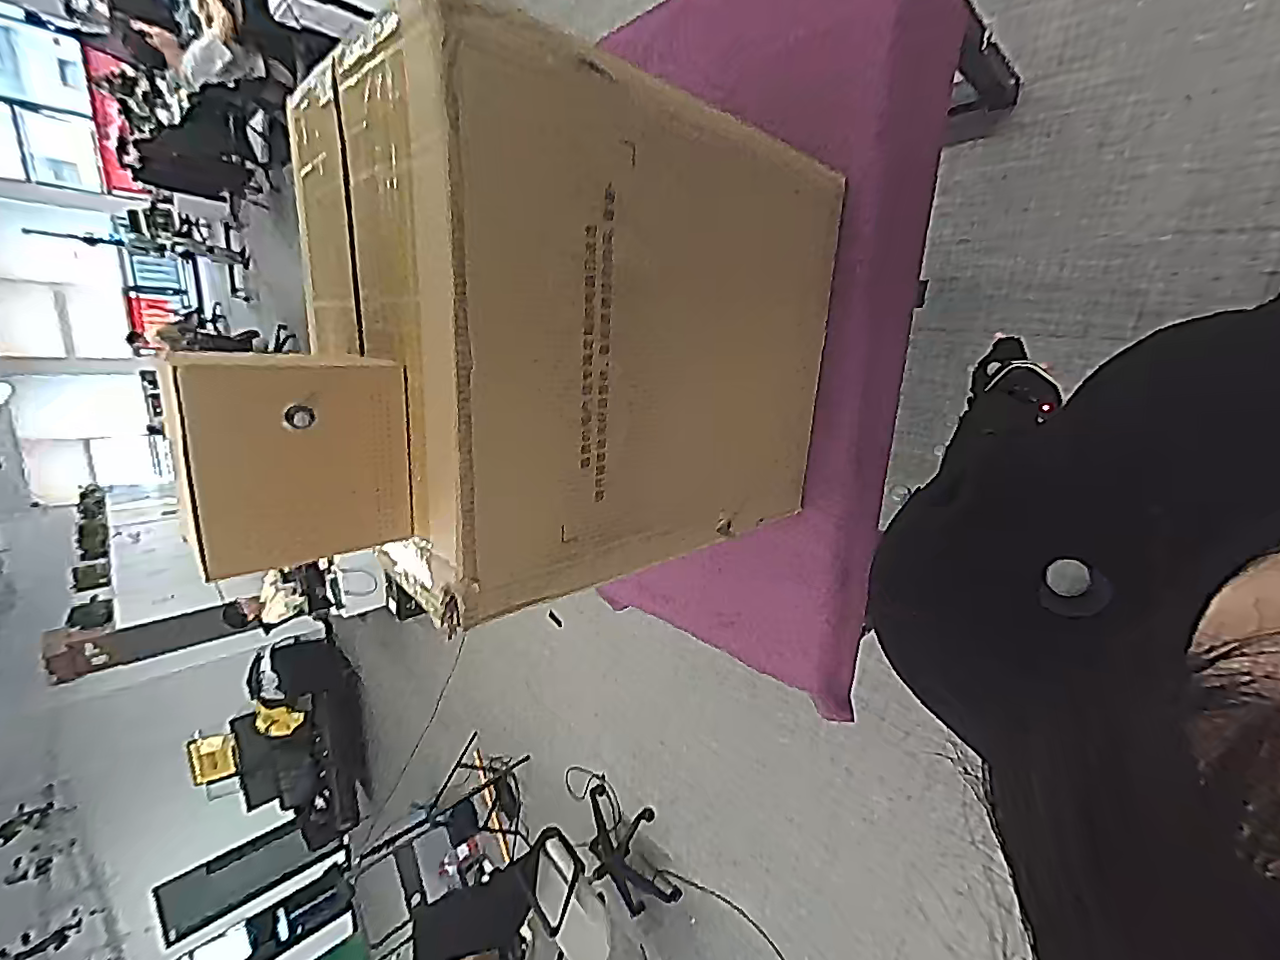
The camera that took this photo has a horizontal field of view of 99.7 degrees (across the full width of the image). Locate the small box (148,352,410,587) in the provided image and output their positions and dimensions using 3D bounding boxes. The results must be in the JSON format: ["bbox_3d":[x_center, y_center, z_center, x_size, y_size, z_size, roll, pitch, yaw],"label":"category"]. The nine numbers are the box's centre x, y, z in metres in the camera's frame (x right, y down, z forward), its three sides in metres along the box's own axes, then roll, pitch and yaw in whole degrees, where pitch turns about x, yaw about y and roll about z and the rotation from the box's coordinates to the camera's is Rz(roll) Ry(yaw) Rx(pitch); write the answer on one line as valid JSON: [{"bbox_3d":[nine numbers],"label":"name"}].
[{"bbox_3d":[-0.336,-0.027,0.514,0.168,0.176,0.179,17,111,44],"label":"small box"}]
